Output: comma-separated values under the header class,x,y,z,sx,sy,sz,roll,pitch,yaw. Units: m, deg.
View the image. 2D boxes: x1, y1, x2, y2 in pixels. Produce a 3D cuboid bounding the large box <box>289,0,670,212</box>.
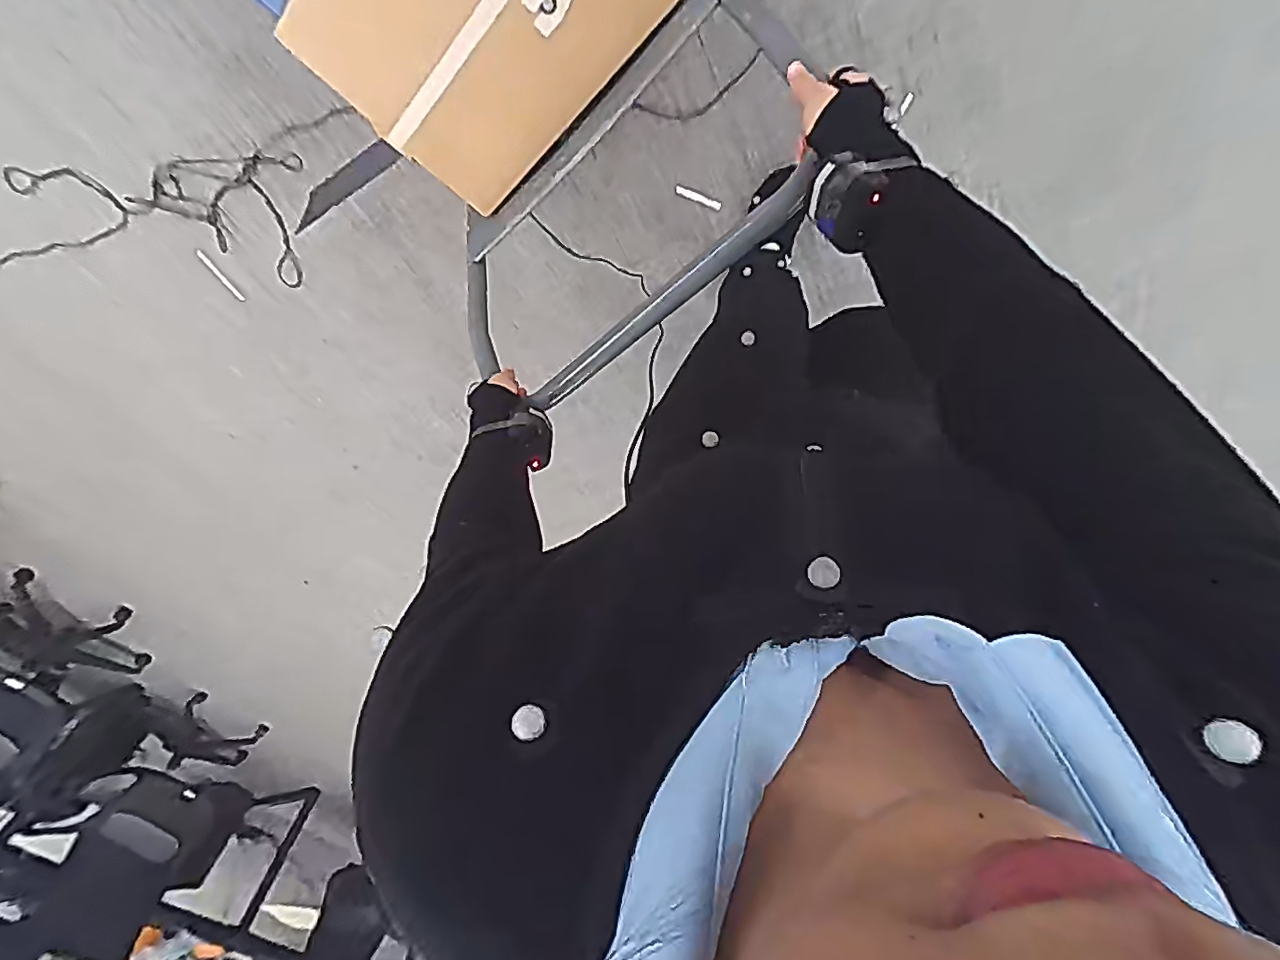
class,x,y,z,sx,sy,sz,roll,pitch,yaw
large box,-0.212,-0.693,0.763,0.408,0.320,0.320,-35,136,26
